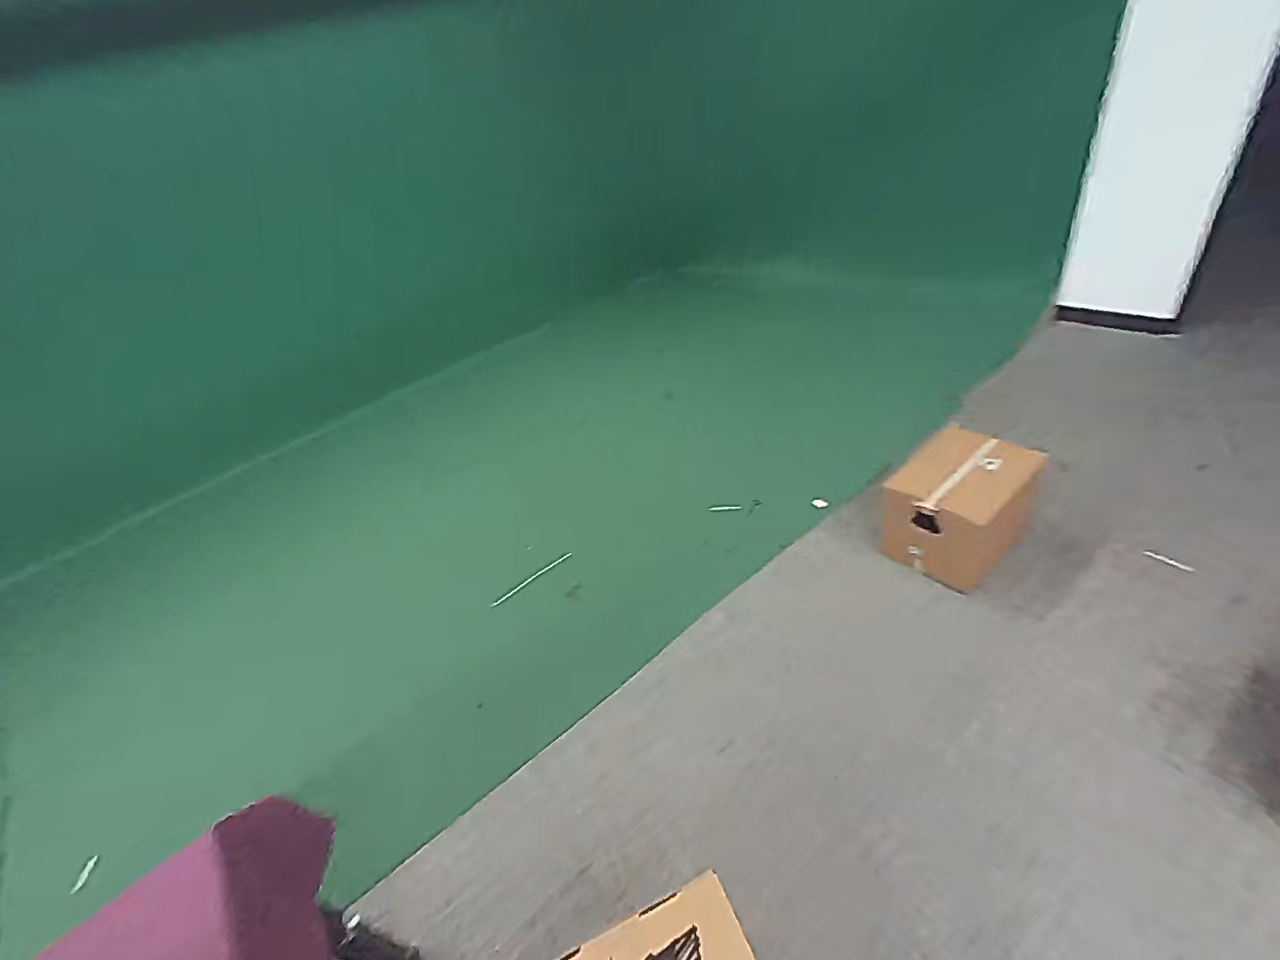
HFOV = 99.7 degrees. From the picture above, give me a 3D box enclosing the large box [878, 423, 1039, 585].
[{"bbox_3d":[1.044,0.070,1.803,0.408,0.320,0.320,-34,40,-23],"label":"large box"}]
